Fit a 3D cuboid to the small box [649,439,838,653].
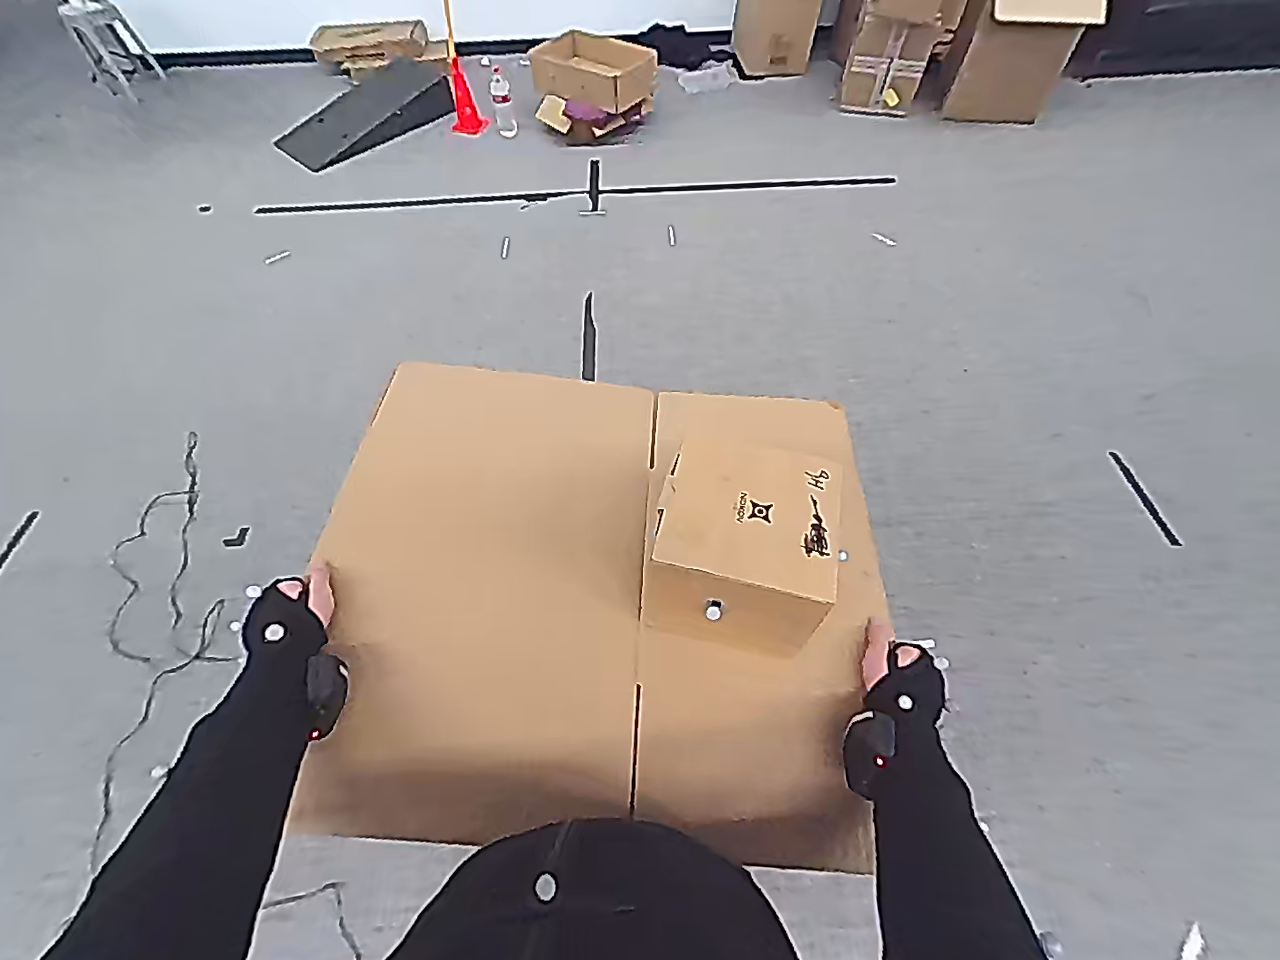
[{"bbox_3d":[0.113,0.080,0.618,0.179,0.176,0.168,11,55,9],"label":"small box"}]
